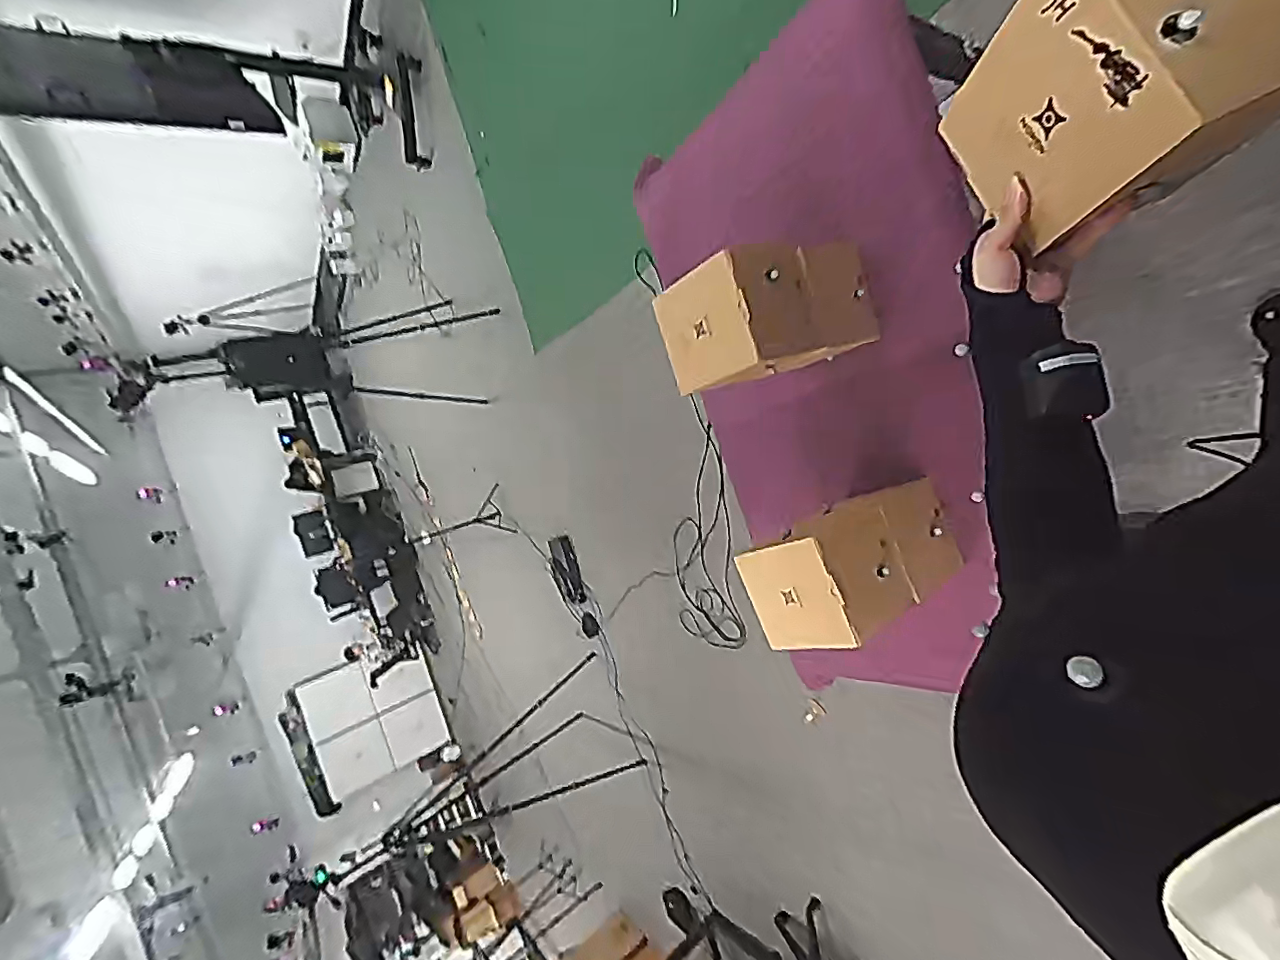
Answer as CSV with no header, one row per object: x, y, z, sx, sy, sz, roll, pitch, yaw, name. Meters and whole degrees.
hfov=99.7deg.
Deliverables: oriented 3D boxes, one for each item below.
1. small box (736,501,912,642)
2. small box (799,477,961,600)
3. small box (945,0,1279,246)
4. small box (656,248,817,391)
0.294,0.148,0.870,0.179,0.176,0.168,-30,80,54,small box
0.424,0.108,0.959,0.179,0.176,0.168,-26,84,55,small box
0.402,-0.335,0.440,0.179,0.176,0.168,72,173,-83,small box
0.160,-0.257,0.866,0.179,0.176,0.168,-14,93,55,small box
